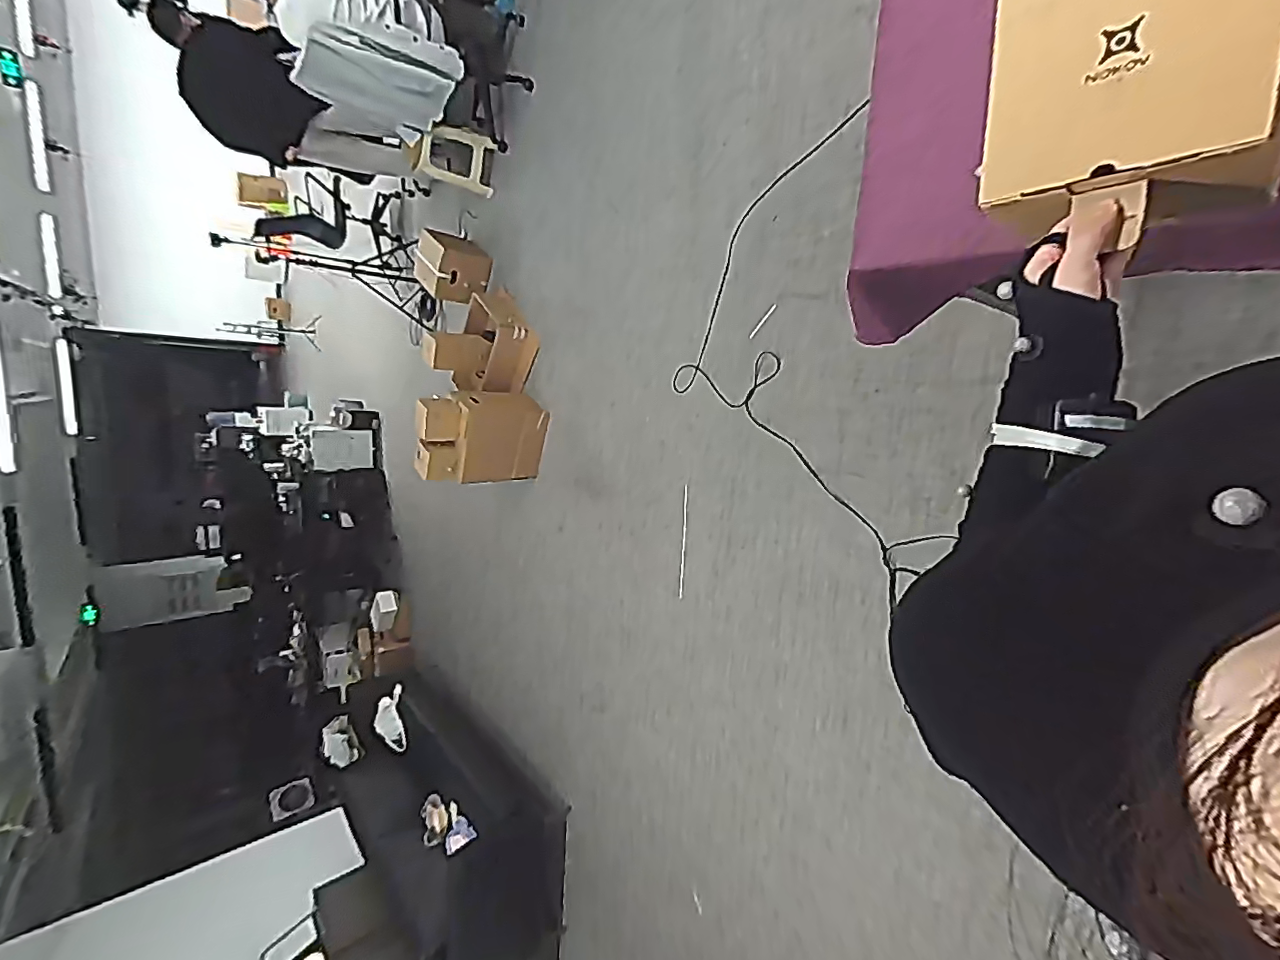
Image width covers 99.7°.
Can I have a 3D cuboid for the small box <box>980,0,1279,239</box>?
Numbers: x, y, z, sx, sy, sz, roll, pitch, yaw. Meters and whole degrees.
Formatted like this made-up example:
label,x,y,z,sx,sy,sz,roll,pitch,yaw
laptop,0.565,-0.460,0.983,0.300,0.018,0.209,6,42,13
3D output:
label,x,y,z,sx,sy,sz,roll,pitch,yaw
small box,0.415,-0.323,0.456,0.168,0.176,0.179,11,104,48
